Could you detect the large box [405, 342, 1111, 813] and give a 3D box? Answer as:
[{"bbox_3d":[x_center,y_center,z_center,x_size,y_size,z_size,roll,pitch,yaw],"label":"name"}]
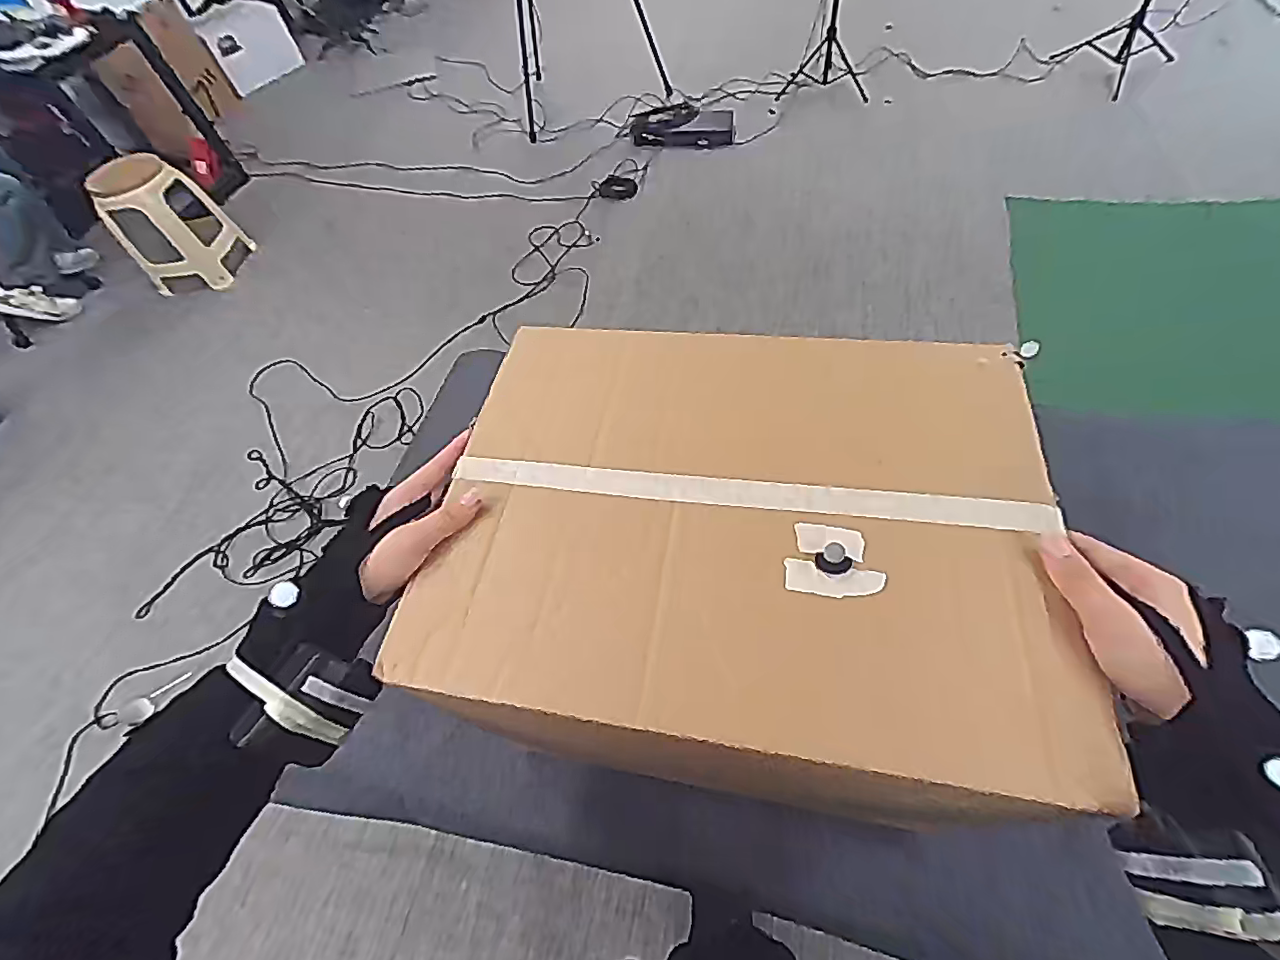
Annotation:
[{"bbox_3d":[0.081,0.096,0.507,0.408,0.320,0.320,5,58,10],"label":"large box"}]
